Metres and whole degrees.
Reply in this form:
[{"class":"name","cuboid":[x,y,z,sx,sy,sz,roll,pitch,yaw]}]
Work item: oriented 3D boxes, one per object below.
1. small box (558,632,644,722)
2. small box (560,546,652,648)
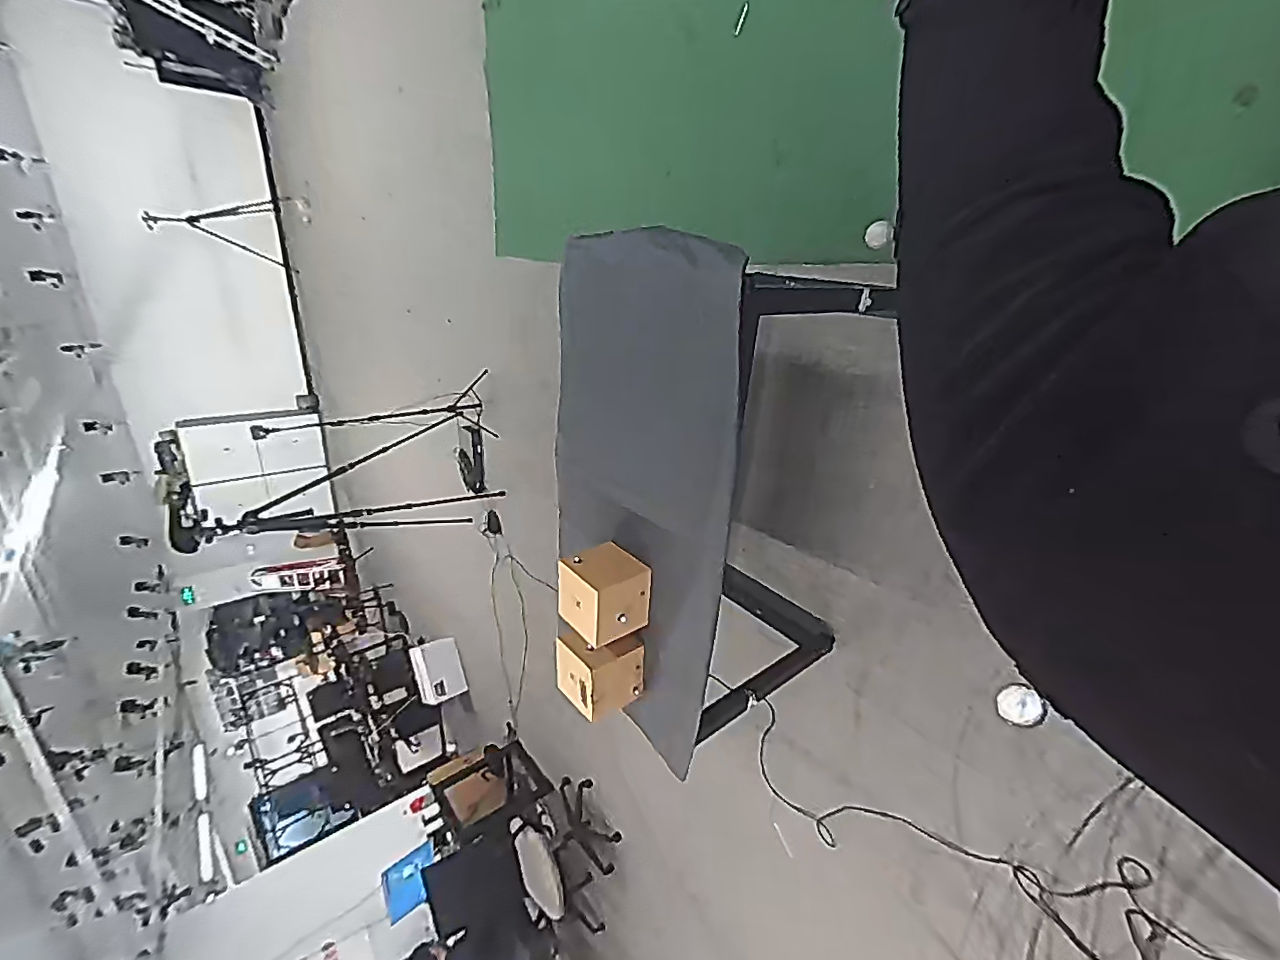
[{"class":"small box","cuboid":[-0.103,0.501,1.454,0.179,0.176,0.168,24,119,48]},{"class":"small box","cuboid":[-0.085,0.284,1.362,0.179,0.176,0.168,28,122,46]}]
